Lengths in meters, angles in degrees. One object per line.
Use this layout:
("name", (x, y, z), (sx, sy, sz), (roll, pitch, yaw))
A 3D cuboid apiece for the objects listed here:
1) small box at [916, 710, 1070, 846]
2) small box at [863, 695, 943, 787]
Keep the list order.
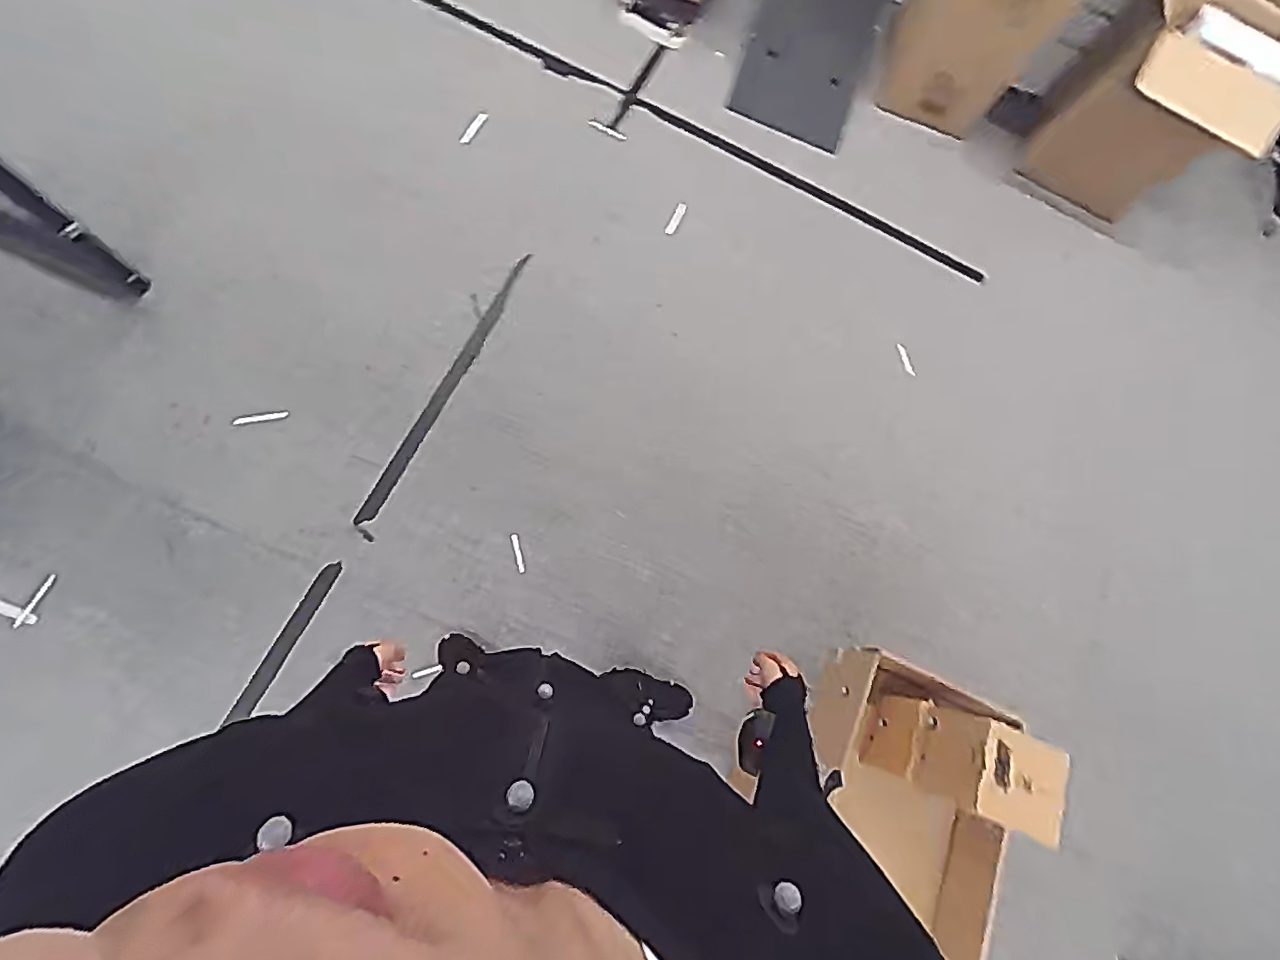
("small box", (0.677, 0.564, 1.052), (0.179, 0.176, 0.168), (25, 73, -4))
("small box", (0.637, 0.598, 1.208), (0.179, 0.176, 0.168), (25, 72, -3))
